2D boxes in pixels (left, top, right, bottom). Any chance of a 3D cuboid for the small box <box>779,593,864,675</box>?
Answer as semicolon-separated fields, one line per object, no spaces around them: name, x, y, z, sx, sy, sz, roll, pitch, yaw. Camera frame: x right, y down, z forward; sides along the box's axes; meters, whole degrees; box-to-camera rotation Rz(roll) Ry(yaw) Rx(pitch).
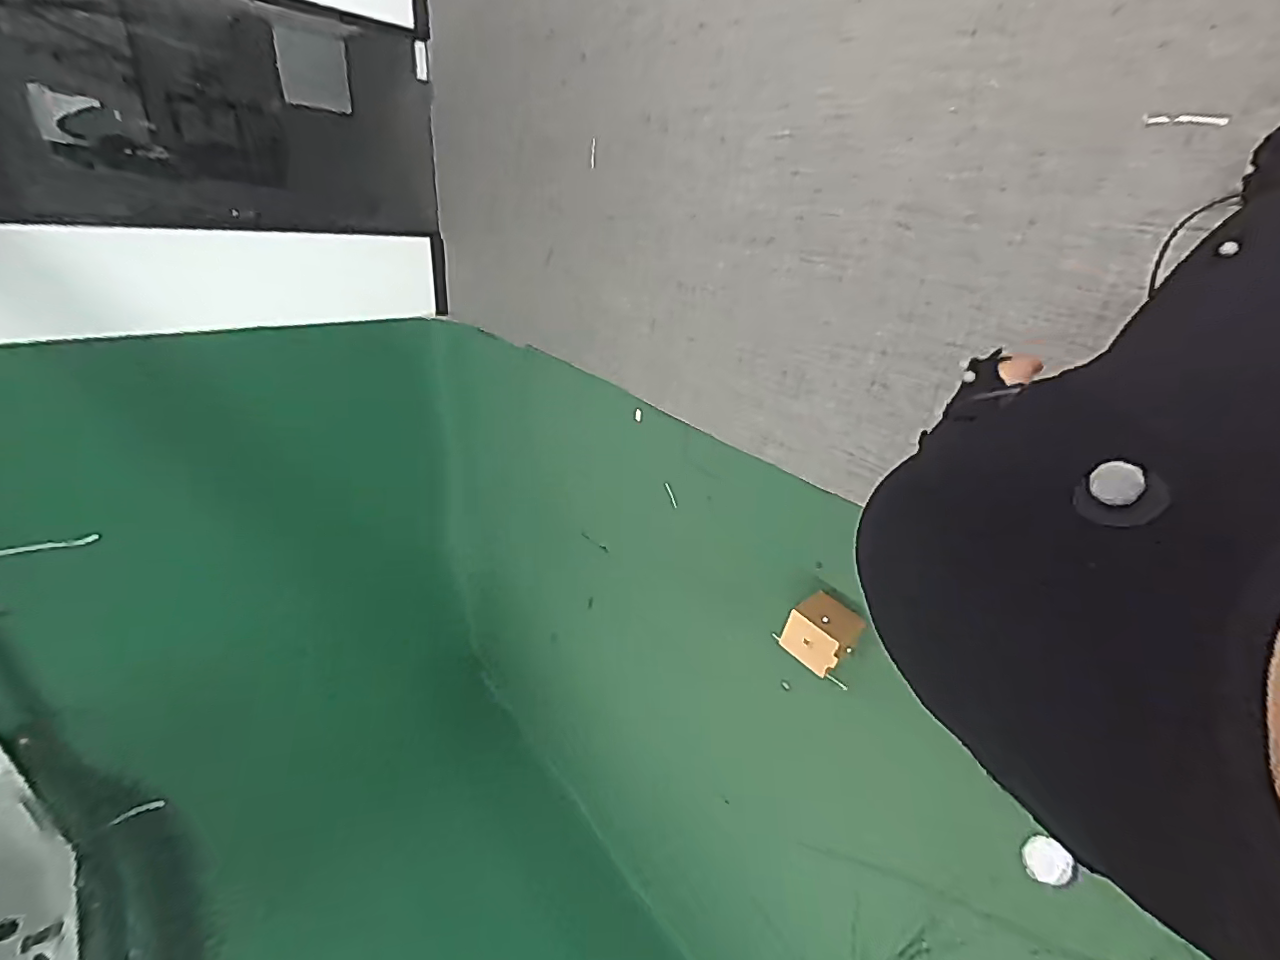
small box;0.592;0.492;1.769;0.179;0.176;0.168;36;129;36
